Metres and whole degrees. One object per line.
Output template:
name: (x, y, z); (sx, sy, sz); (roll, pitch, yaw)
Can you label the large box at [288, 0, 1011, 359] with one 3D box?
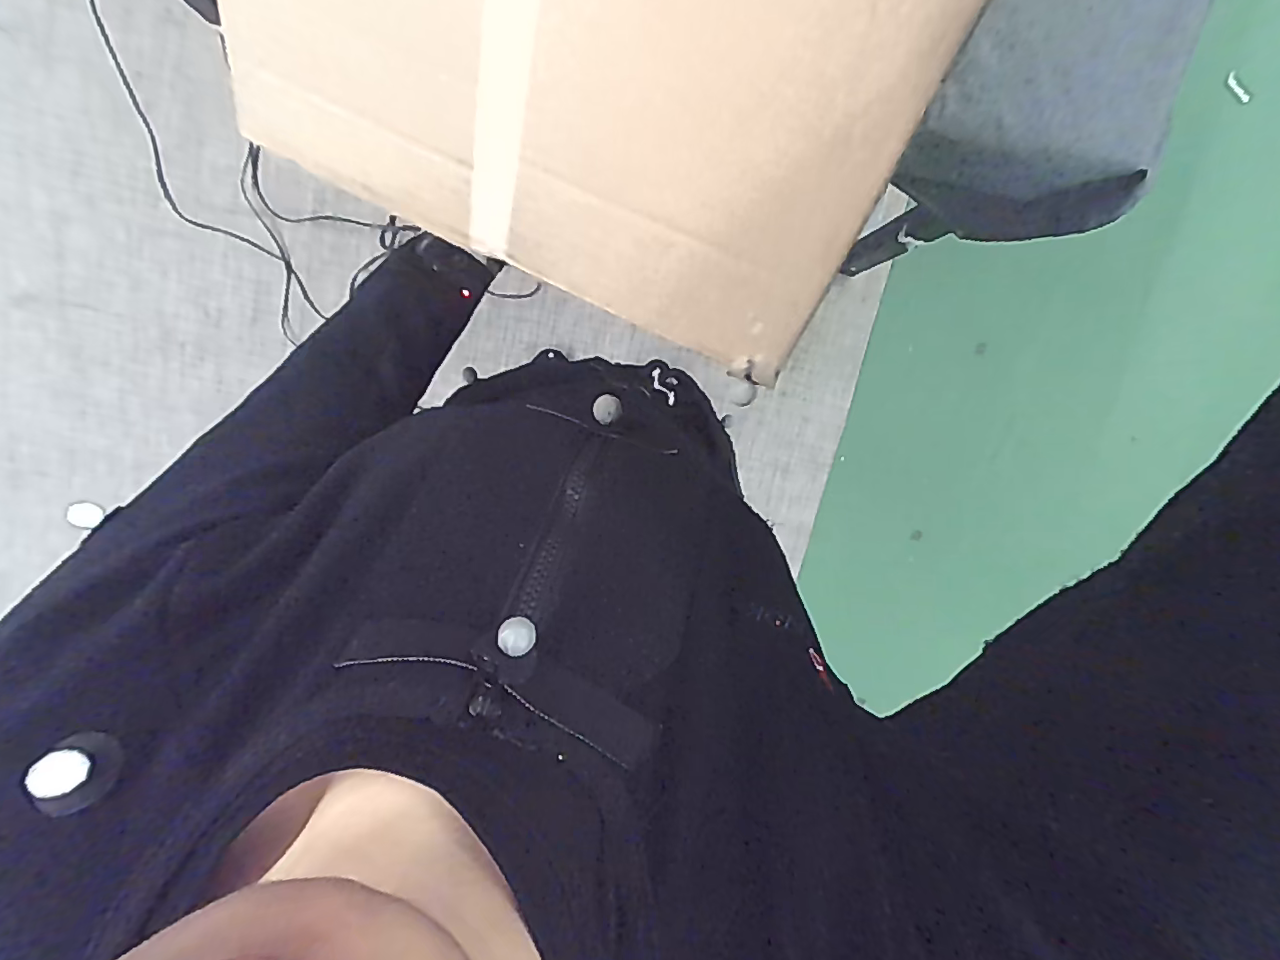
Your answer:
large box: (0.050, -0.350, 0.271); (0.320, 0.320, 0.408); (26, 133, 5)
